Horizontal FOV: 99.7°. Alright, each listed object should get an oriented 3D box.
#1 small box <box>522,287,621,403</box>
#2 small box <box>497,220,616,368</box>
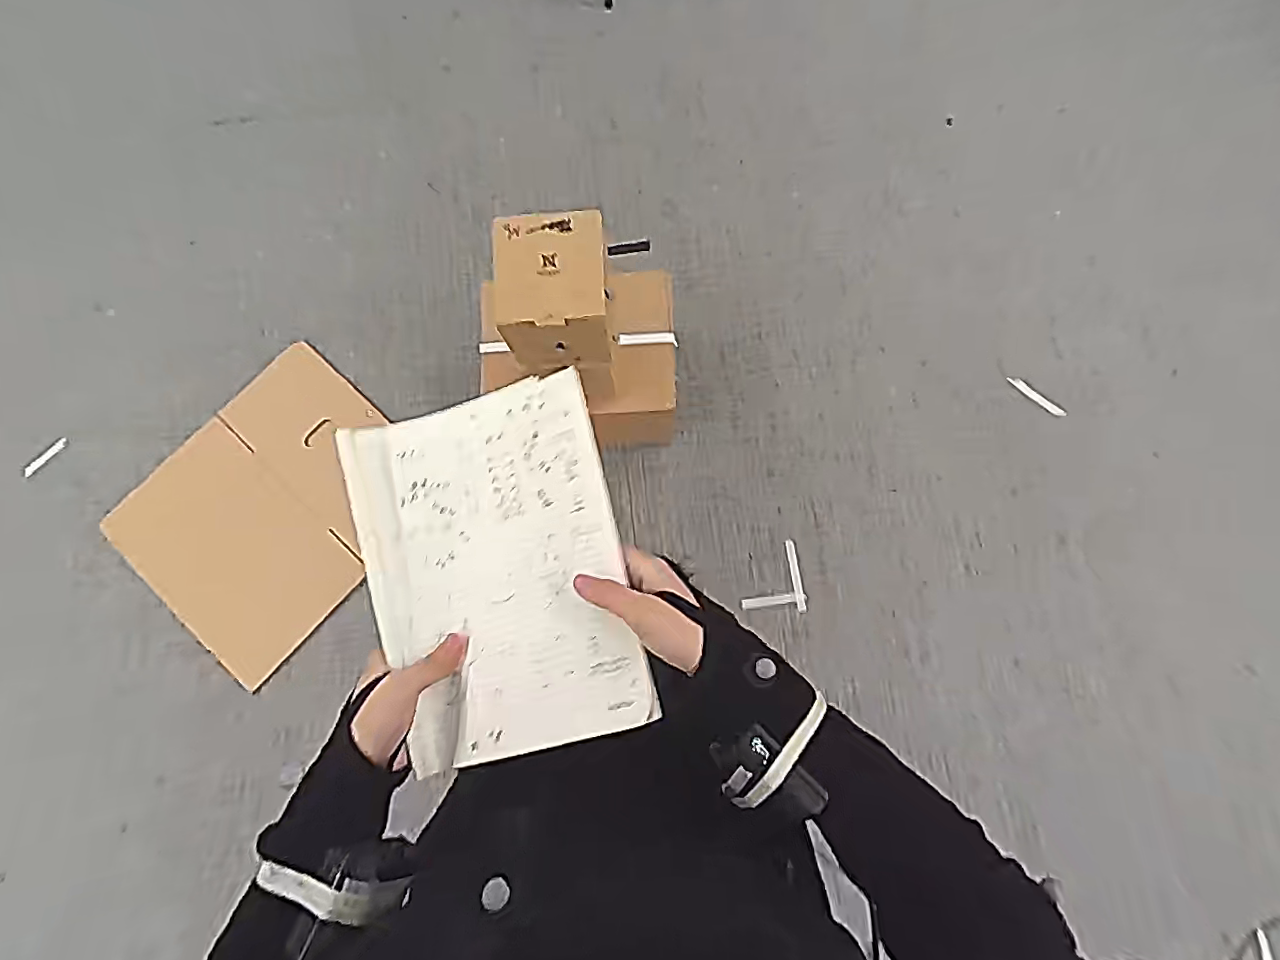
[{"bbox_3d":[-0.123,-0.252,1.038,0.168,0.176,0.179,0,80,1],"label":"small box"},{"bbox_3d":[-0.128,-0.289,0.878,0.168,0.176,0.179,-3,81,1],"label":"small box"}]
